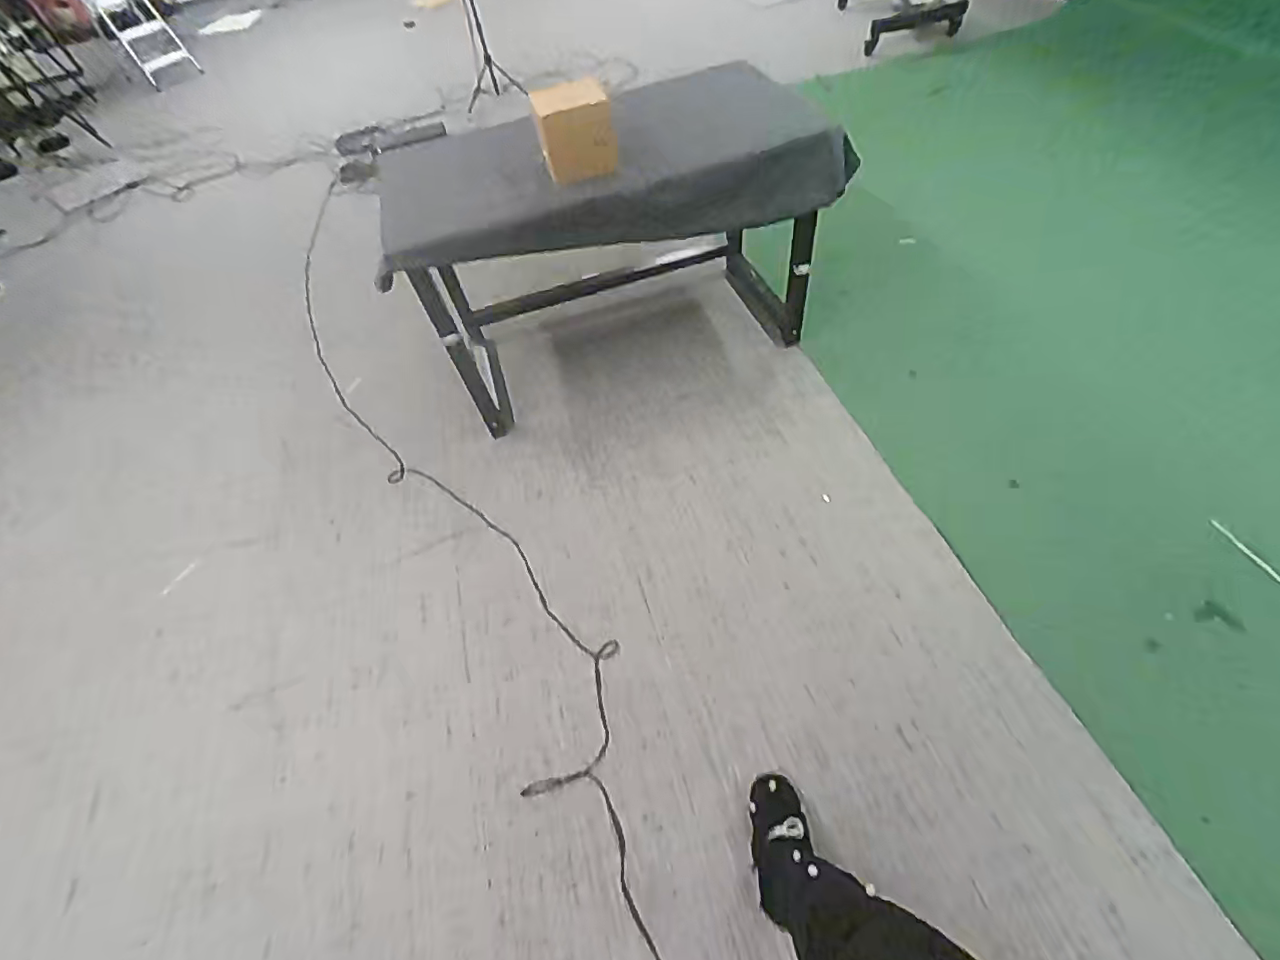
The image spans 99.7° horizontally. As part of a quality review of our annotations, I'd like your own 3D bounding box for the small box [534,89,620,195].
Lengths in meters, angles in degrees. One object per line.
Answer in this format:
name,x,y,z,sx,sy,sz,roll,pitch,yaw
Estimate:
small box,-0.157,-0.879,1.410,0.179,0.176,0.168,-19,52,-4
